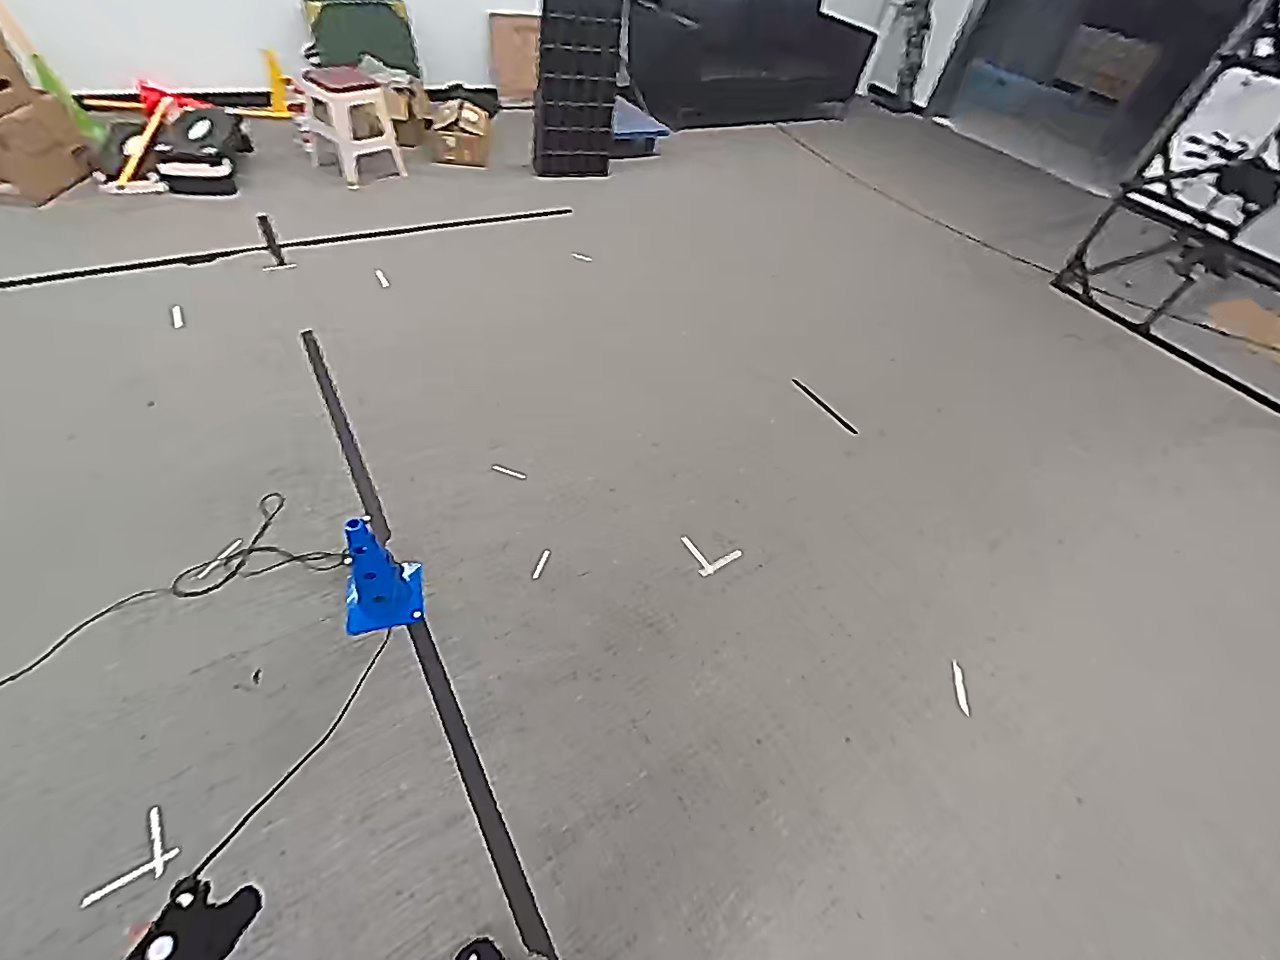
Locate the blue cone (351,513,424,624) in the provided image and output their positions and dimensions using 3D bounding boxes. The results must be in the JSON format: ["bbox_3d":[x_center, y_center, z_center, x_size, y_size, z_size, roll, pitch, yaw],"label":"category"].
[{"bbox_3d":[-0.694,0.212,1.424,0.192,0.380,0.193,-6,51,-17],"label":"blue cone"}]
